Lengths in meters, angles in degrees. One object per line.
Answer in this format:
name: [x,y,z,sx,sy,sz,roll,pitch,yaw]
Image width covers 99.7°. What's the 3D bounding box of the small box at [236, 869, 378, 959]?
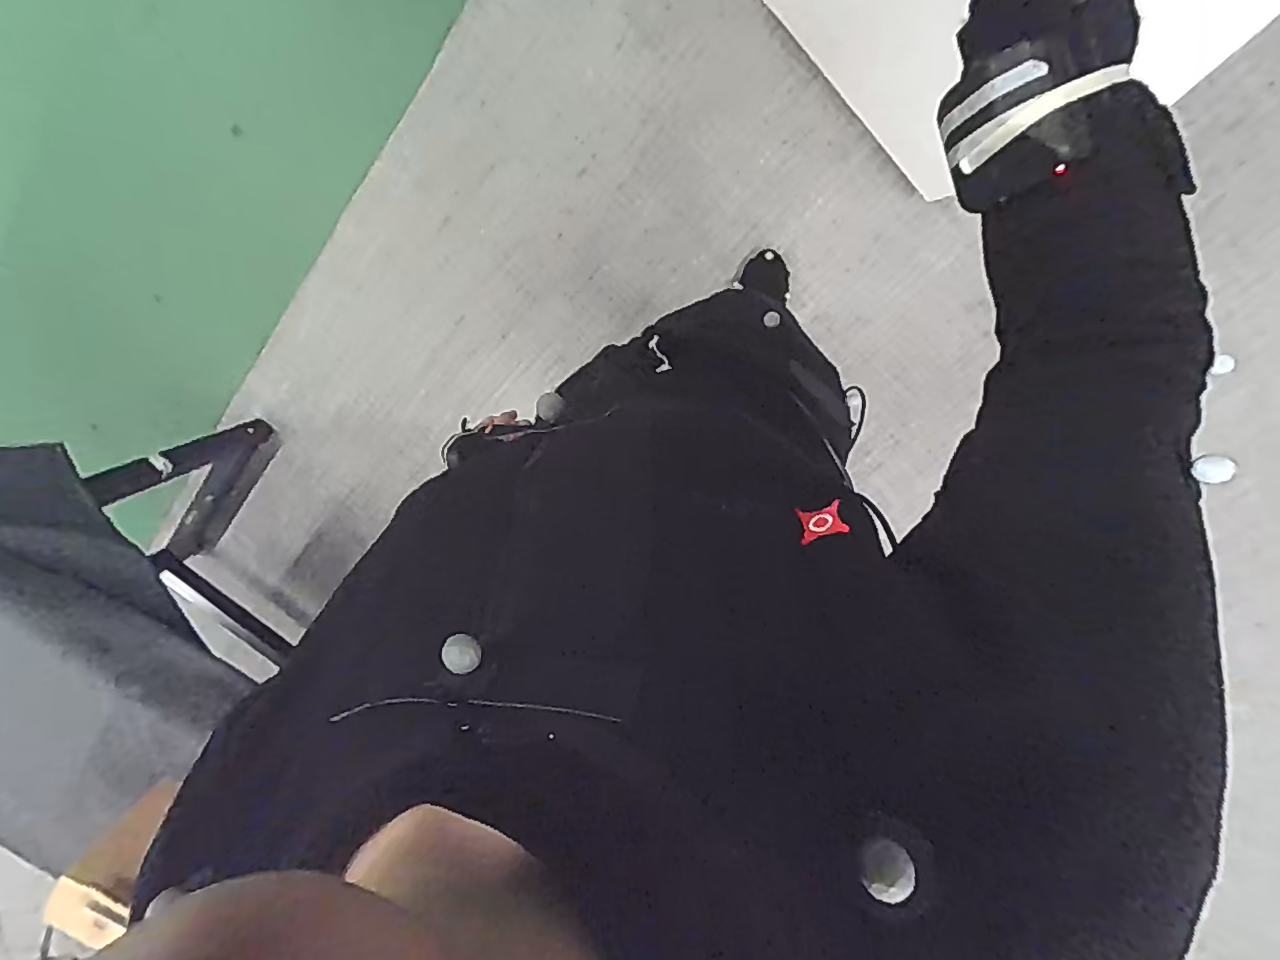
small box: [-0.598,0.835,0.942,0.168,0.176,0.179,38,111,-7]
